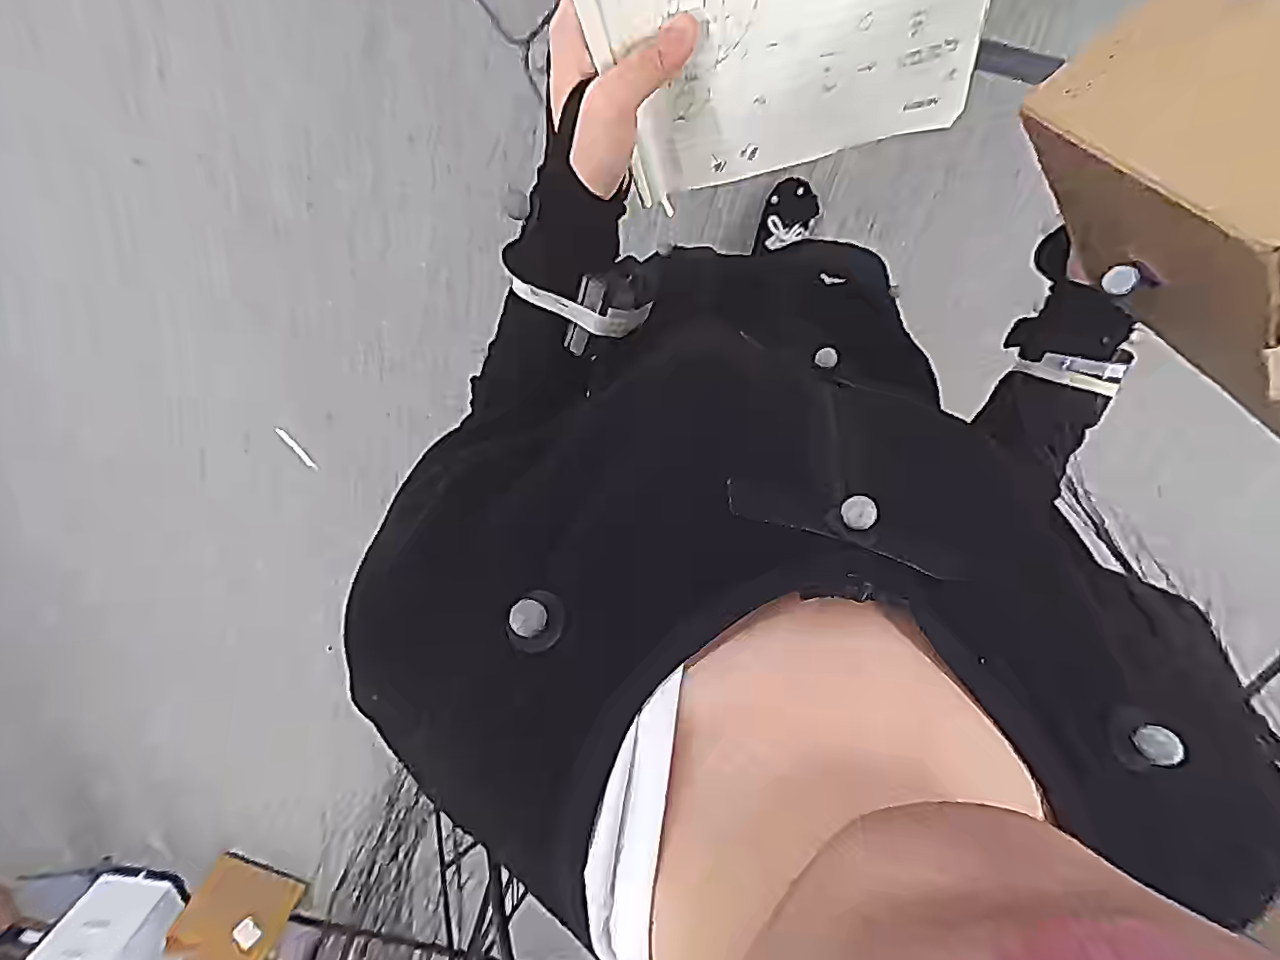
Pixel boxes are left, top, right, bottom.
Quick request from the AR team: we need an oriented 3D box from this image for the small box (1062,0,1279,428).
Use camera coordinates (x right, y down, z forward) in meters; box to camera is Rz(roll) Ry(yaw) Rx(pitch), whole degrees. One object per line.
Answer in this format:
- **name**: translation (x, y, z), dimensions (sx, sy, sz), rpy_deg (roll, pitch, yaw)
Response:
- **small box**: translation (0.333, -0.154, 0.239), dimensions (0.168, 0.176, 0.179), rpy_deg (28, 130, -34)
